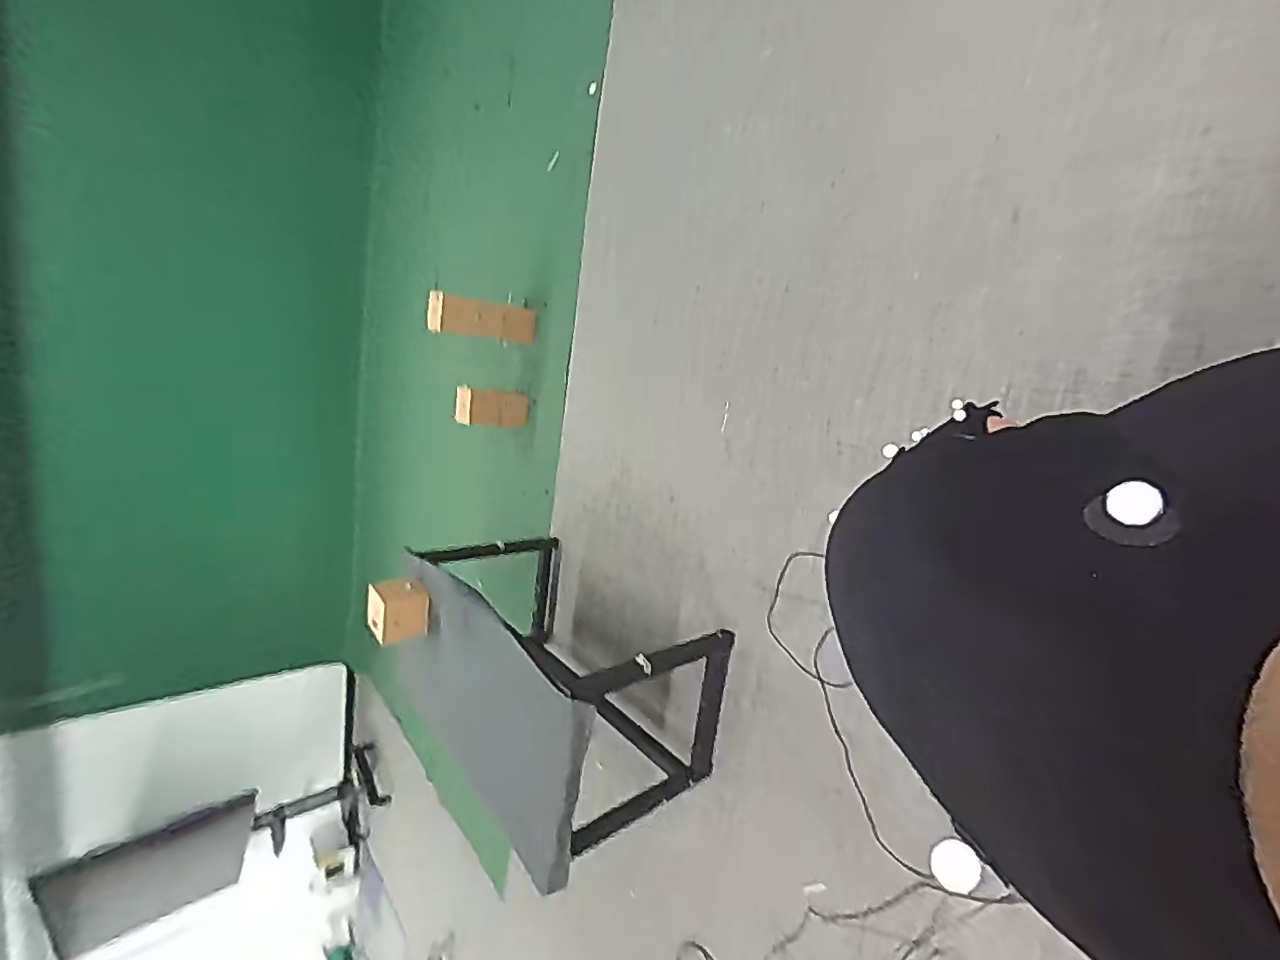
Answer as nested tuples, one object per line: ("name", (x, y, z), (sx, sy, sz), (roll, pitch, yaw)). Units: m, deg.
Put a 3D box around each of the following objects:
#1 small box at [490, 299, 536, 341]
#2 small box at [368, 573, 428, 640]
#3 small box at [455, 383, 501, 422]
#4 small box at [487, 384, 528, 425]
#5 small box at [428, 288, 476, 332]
("small box", (-0.661, -0.836, 2.825), (0.168, 0.176, 0.179), (25, 109, 43))
("small box", (-0.926, 0.480, 2.071), (0.168, 0.176, 0.179), (26, 112, 43))
("small box", (-0.831, -0.396, 2.781), (0.168, 0.176, 0.179), (17, 104, 46))
("small box", (-0.719, -0.404, 2.899), (0.168, 0.176, 0.179), (27, 111, 43))
("small box", (-0.904, -0.818, 2.605), (0.168, 0.176, 0.179), (23, 109, 45))
